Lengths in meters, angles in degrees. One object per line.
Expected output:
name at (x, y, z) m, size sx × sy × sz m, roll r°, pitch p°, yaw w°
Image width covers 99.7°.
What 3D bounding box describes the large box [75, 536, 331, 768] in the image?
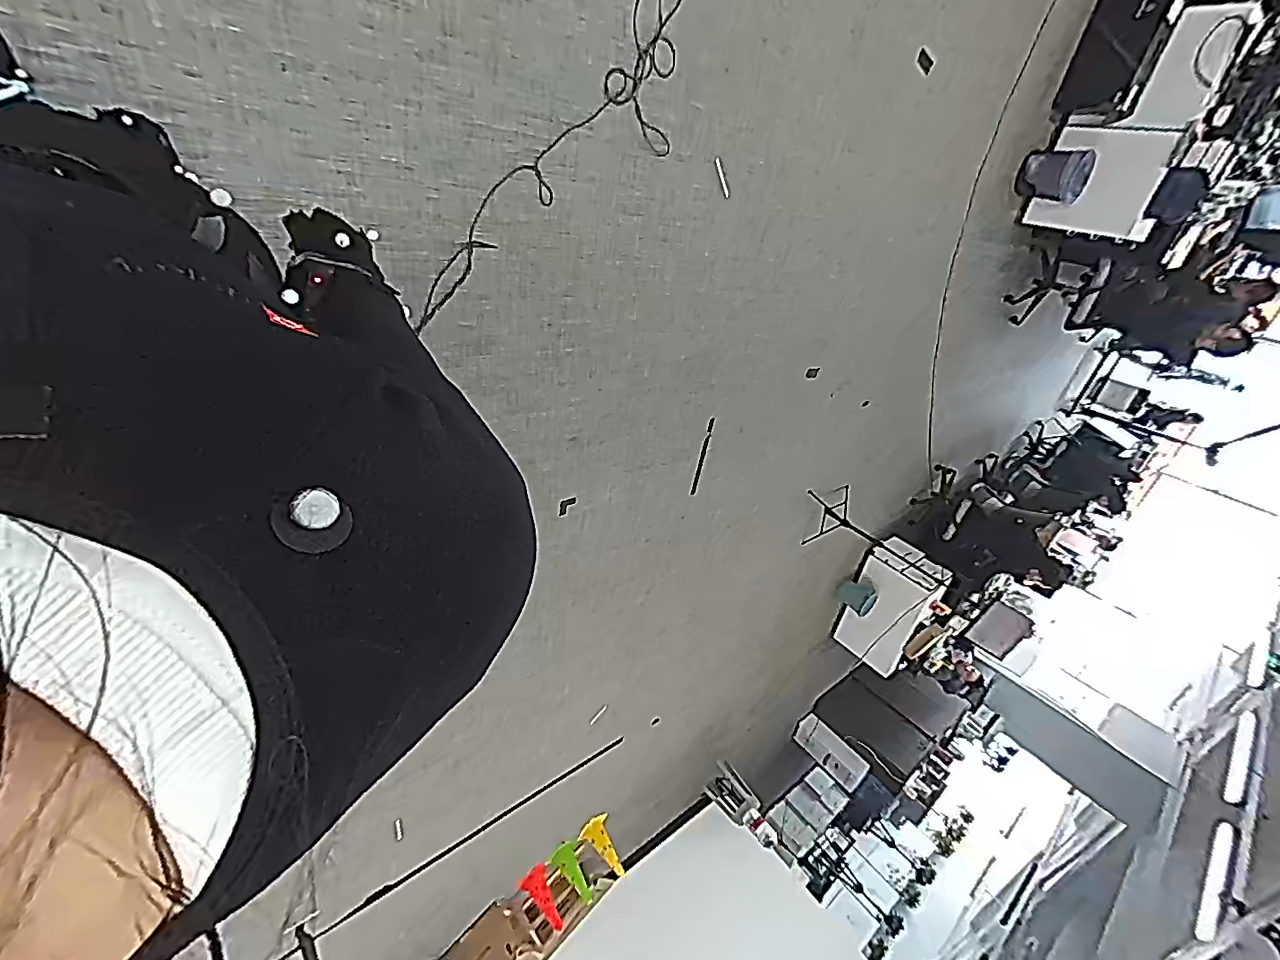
large box at (-1.043, 0.393, 1.329) m, size 0.408 × 0.320 × 0.320 m, roll -18°, pitch 129°, yaw -34°
